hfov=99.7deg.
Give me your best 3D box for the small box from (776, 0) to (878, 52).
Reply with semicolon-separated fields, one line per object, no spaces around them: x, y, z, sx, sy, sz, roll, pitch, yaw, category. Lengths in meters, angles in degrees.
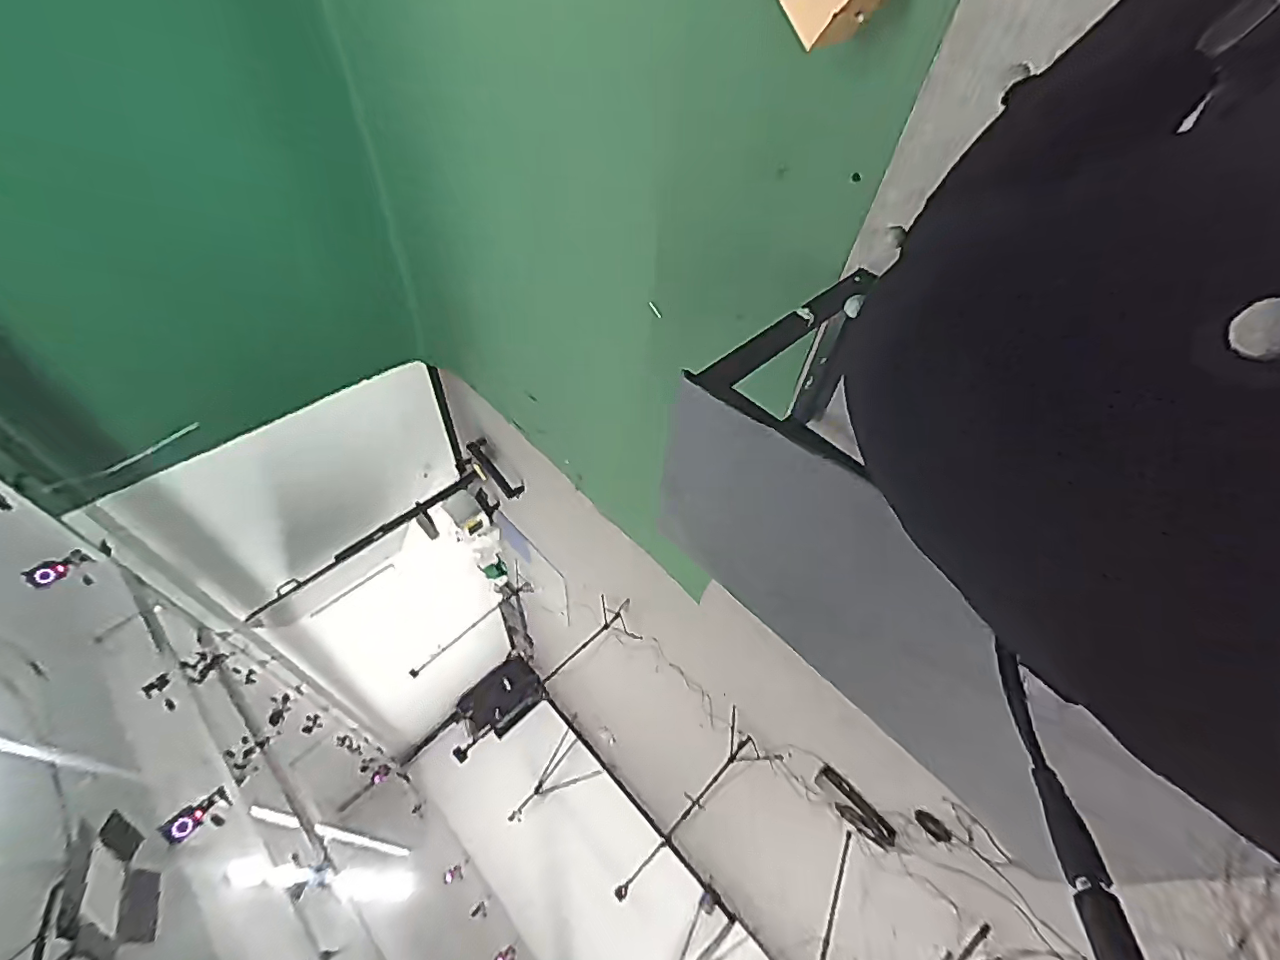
0.405;-1.056;1.131;0.179;0.176;0.168;58;151;-8;small box
